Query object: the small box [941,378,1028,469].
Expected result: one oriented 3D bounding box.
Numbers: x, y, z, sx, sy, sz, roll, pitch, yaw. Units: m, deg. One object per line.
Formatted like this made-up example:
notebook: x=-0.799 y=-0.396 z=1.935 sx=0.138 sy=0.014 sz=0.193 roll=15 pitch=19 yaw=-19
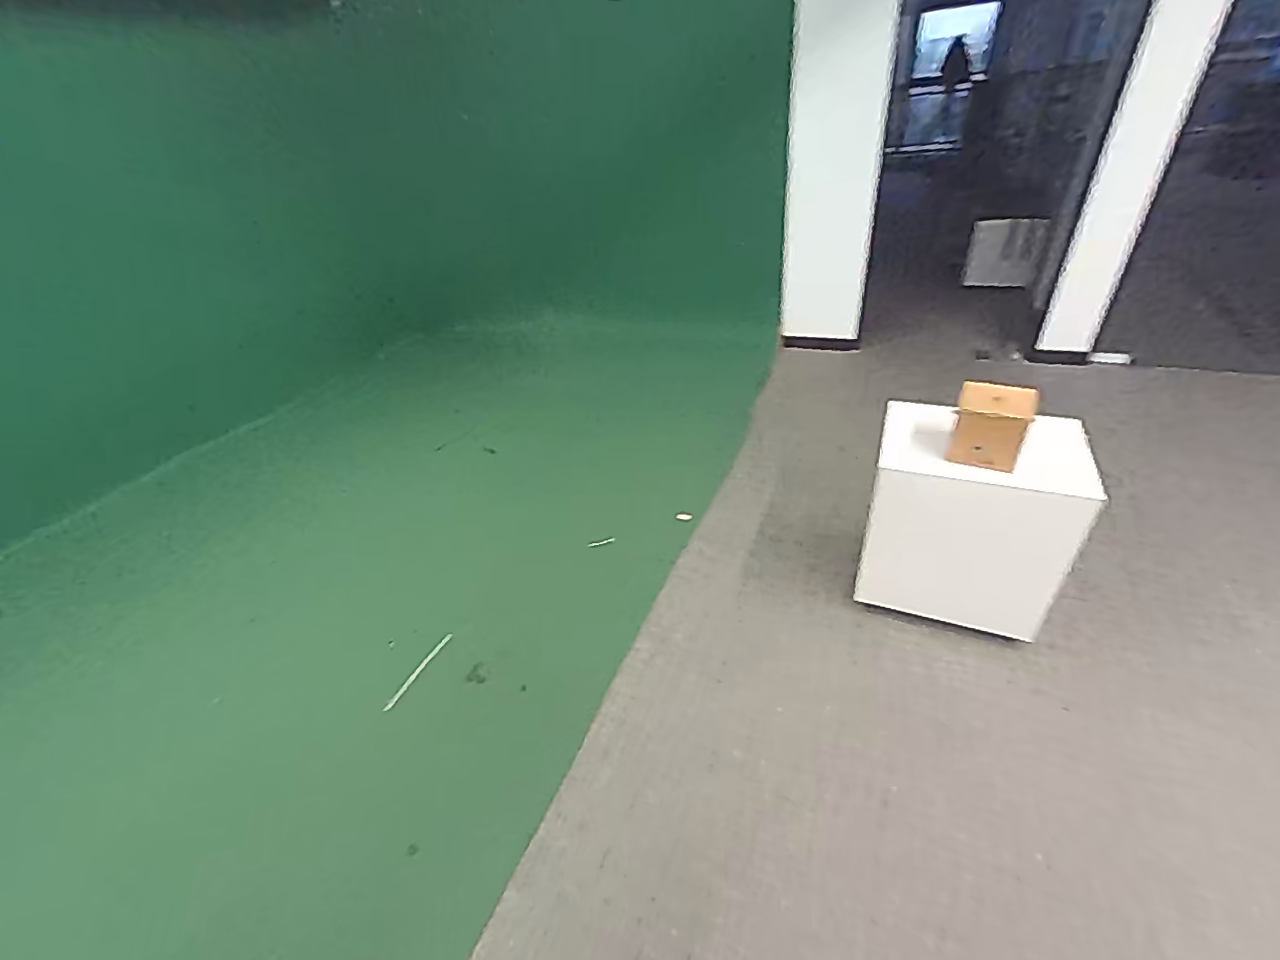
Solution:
small box: x=0.937 y=-0.156 z=1.475 sx=0.168 sy=0.176 sz=0.179 roll=14 pitch=41 yaw=27
